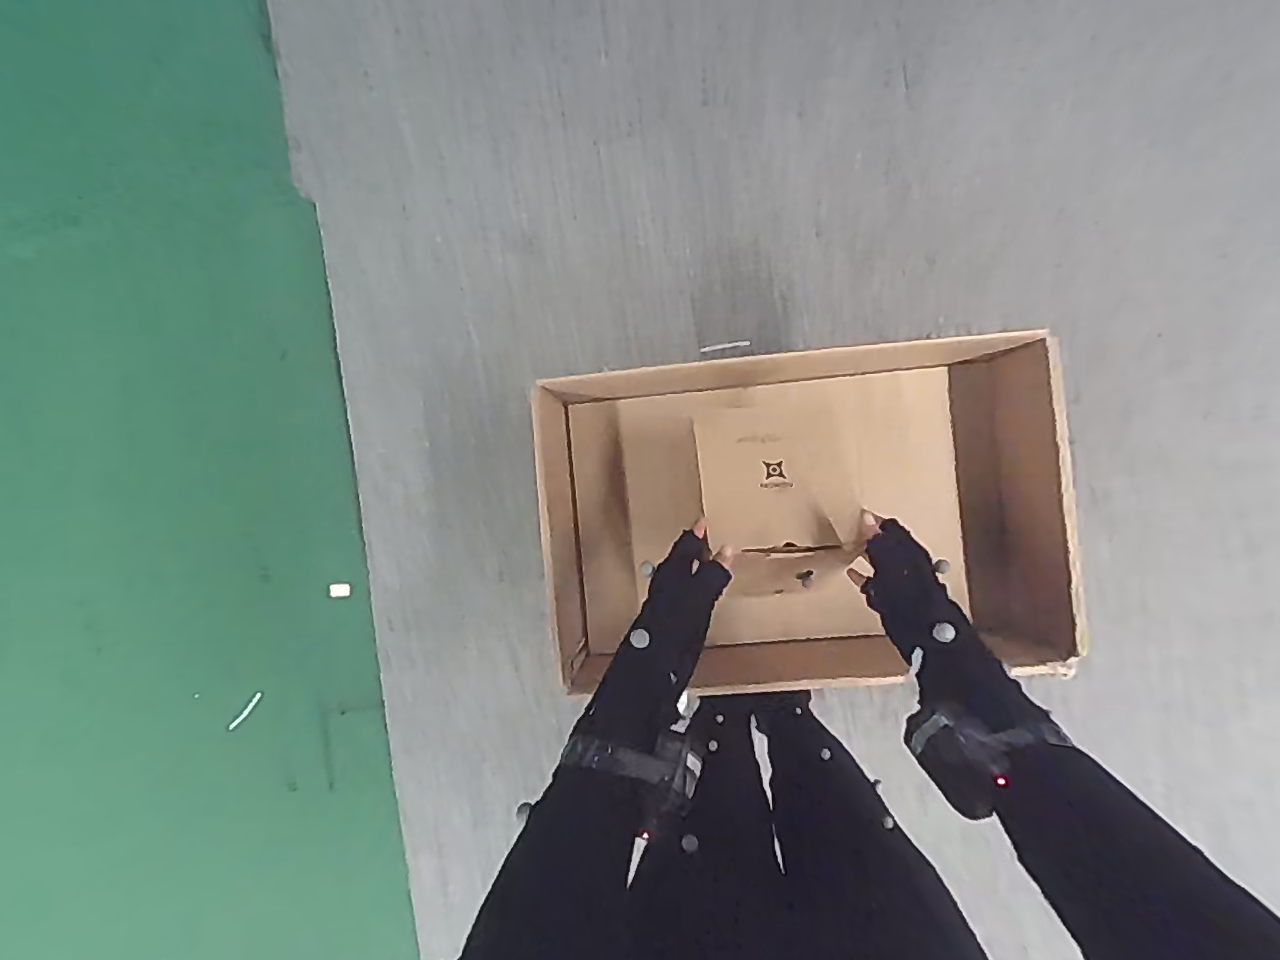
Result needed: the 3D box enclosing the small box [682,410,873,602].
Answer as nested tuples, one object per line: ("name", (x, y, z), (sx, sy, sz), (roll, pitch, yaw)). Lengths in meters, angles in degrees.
("small box", (0.145, 0.039, 0.641), (0.168, 0.176, 0.179), (-2, 59, -4))
